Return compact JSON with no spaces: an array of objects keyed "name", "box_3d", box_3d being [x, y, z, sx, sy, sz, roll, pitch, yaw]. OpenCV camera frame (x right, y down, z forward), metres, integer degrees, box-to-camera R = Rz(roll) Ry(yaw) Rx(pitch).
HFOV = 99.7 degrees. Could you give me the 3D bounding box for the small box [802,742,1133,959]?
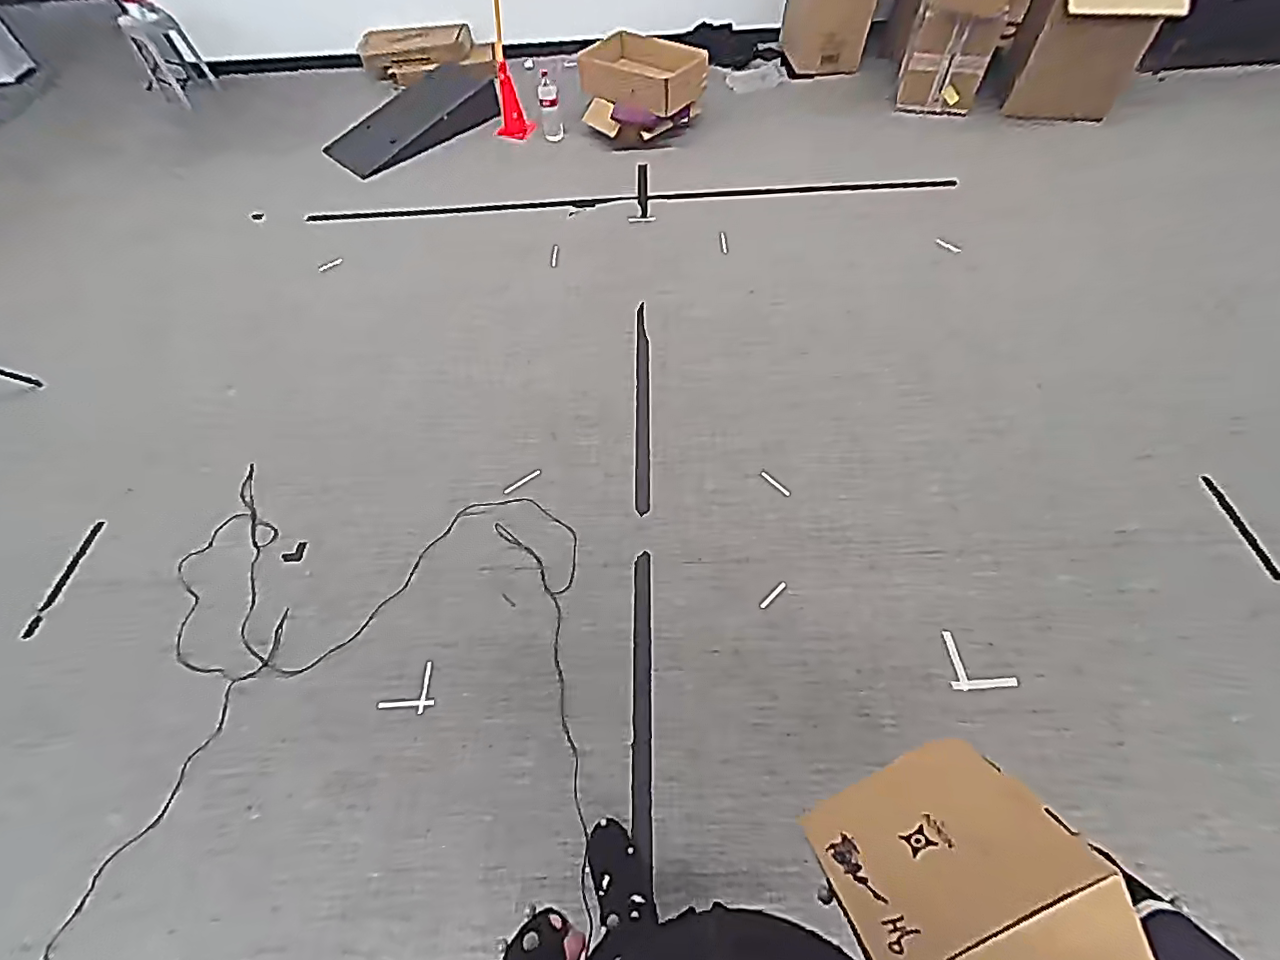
[{"name":"small box","box_3d":[0.273,0.373,0.460,0.179,0.168,0.176,-25,96,-2]}]
